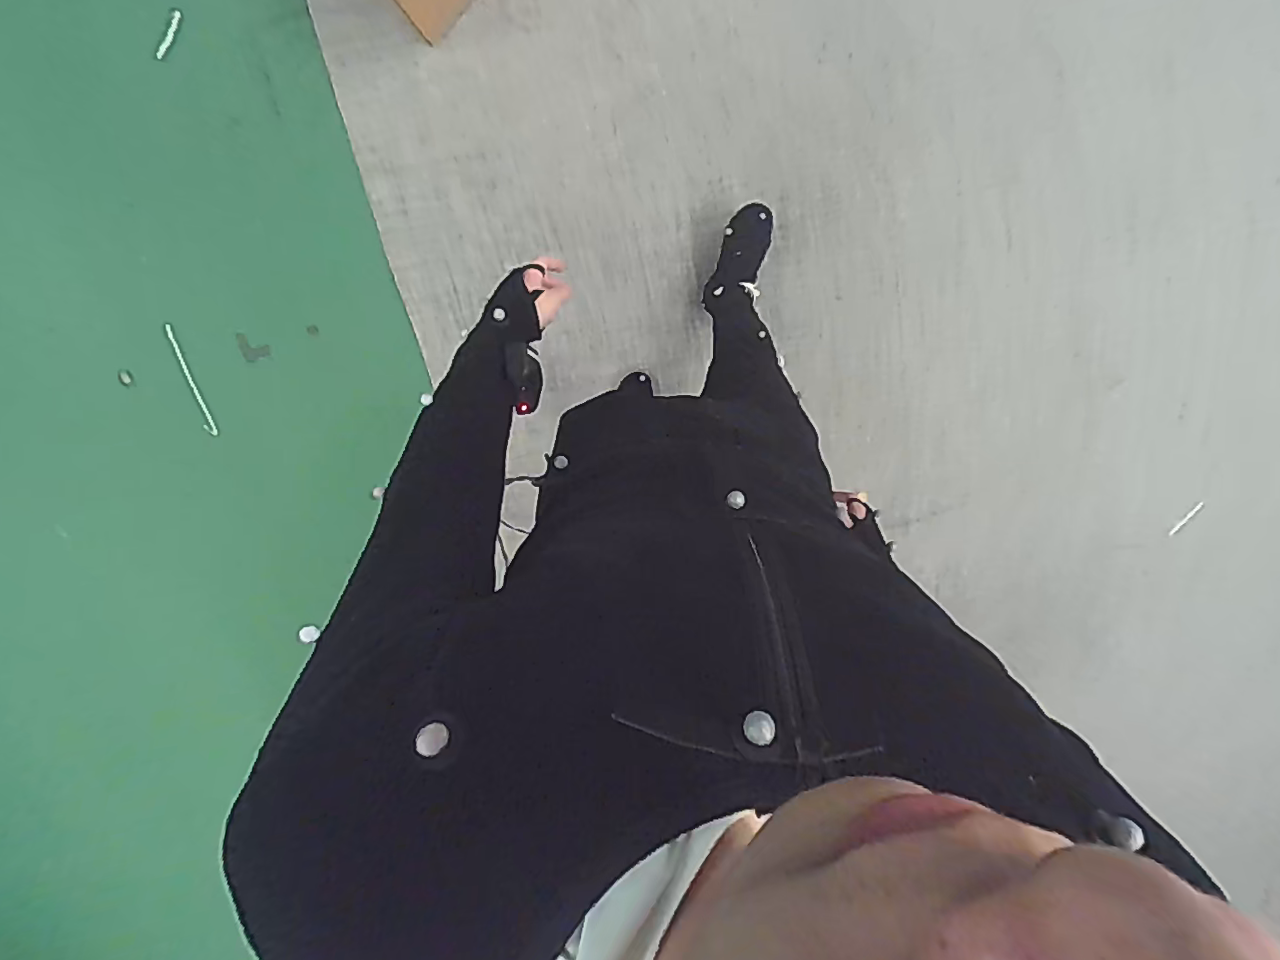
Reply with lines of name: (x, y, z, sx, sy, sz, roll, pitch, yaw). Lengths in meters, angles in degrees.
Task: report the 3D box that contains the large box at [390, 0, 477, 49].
large box: (-0.446, -1.210, 1.076, 0.408, 0.320, 0.320, -43, 103, 13)
